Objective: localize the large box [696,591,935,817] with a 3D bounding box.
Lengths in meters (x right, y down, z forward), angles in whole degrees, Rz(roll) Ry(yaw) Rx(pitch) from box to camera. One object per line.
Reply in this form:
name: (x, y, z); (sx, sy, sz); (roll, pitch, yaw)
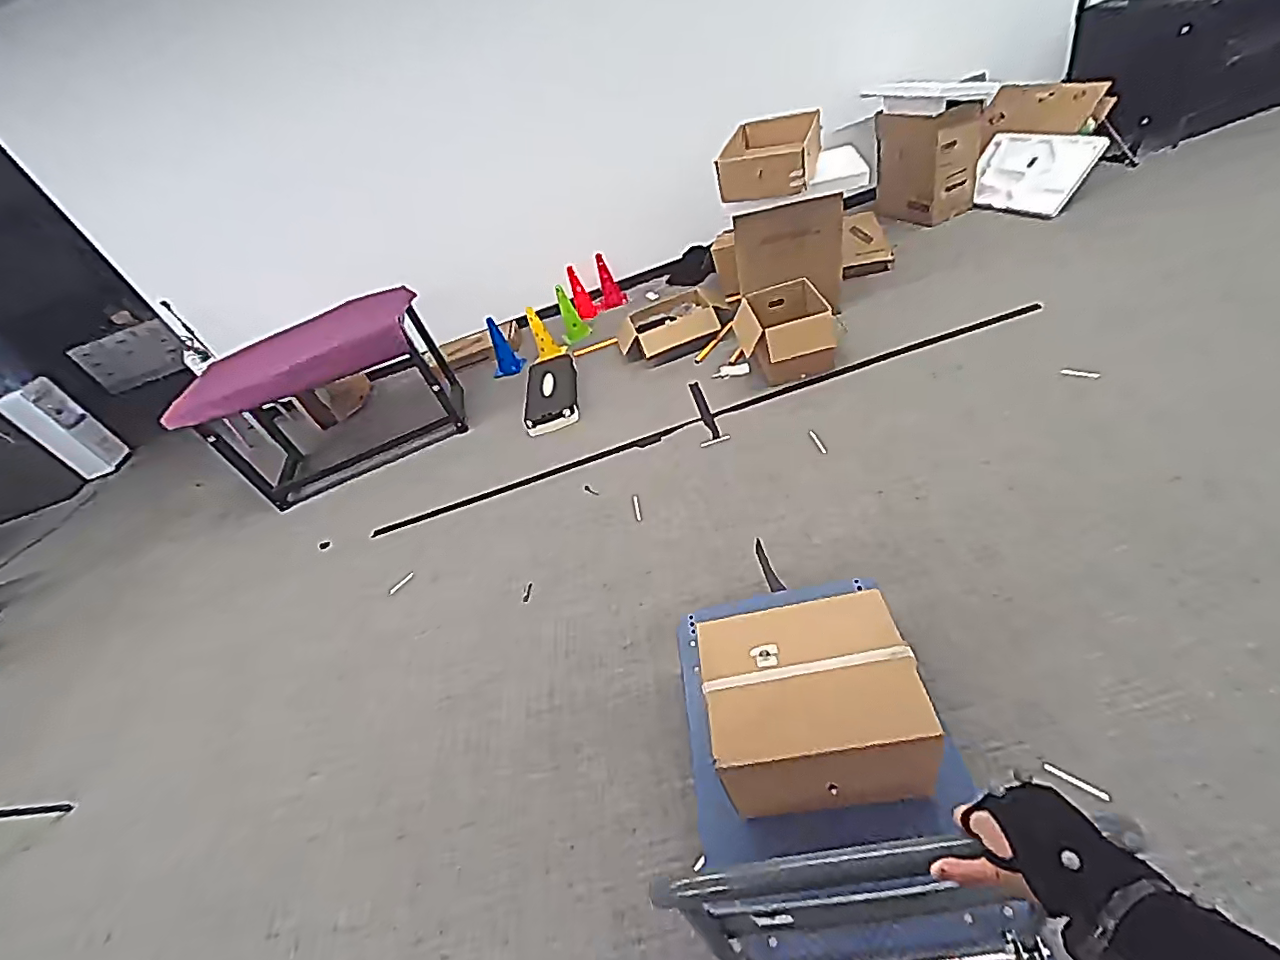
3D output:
large box: (0.369, 0.496, 1.184); (0.408, 0.320, 0.320); (-15, 39, 10)
